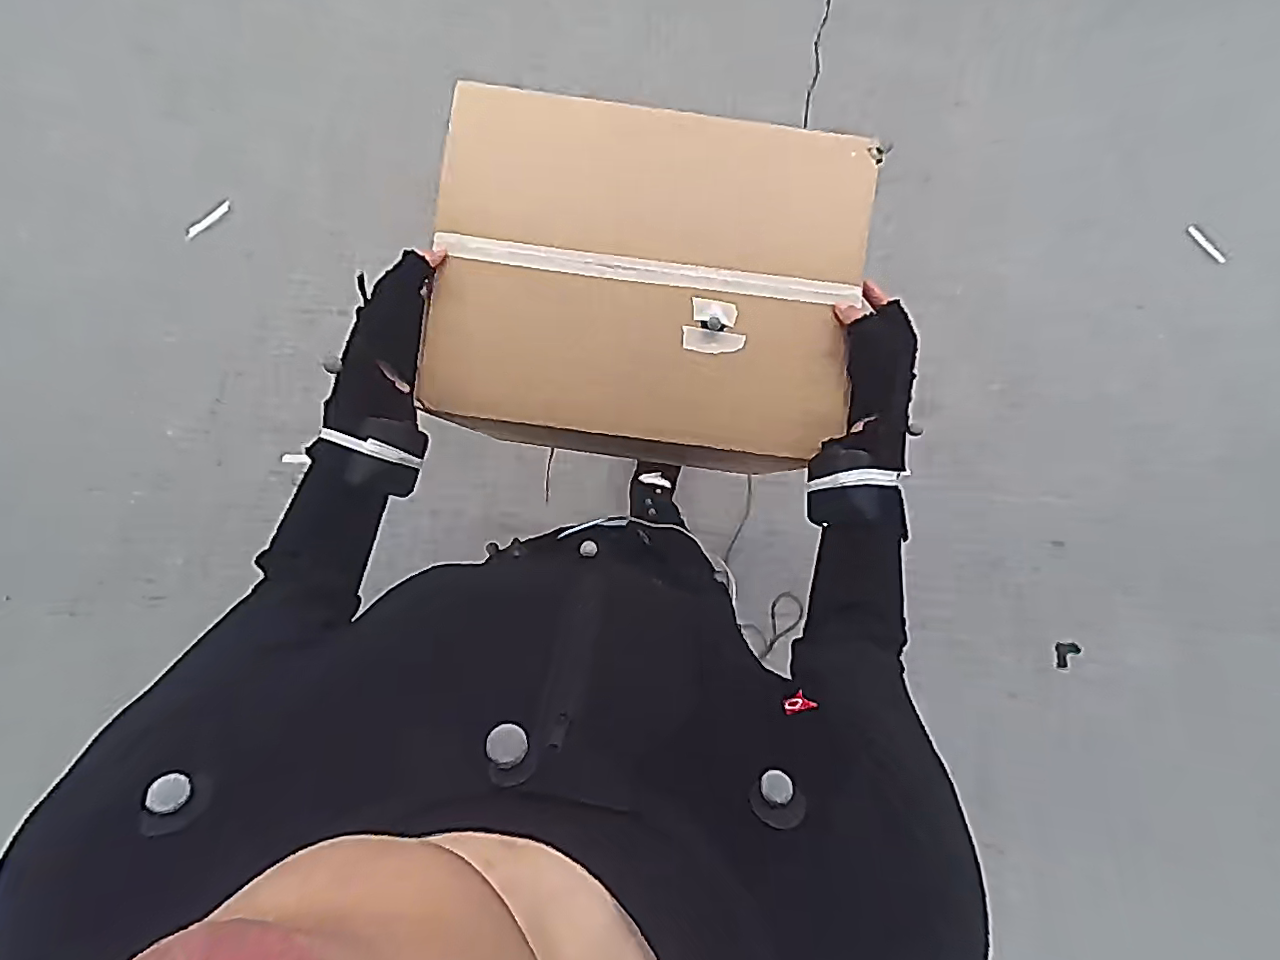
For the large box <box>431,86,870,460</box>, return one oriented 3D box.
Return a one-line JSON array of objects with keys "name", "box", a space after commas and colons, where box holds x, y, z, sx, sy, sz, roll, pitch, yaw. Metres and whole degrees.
[{"name": "large box", "box": [0.007, -0.206, 0.673, 0.408, 0.320, 0.320, 8, 90, -2]}]
